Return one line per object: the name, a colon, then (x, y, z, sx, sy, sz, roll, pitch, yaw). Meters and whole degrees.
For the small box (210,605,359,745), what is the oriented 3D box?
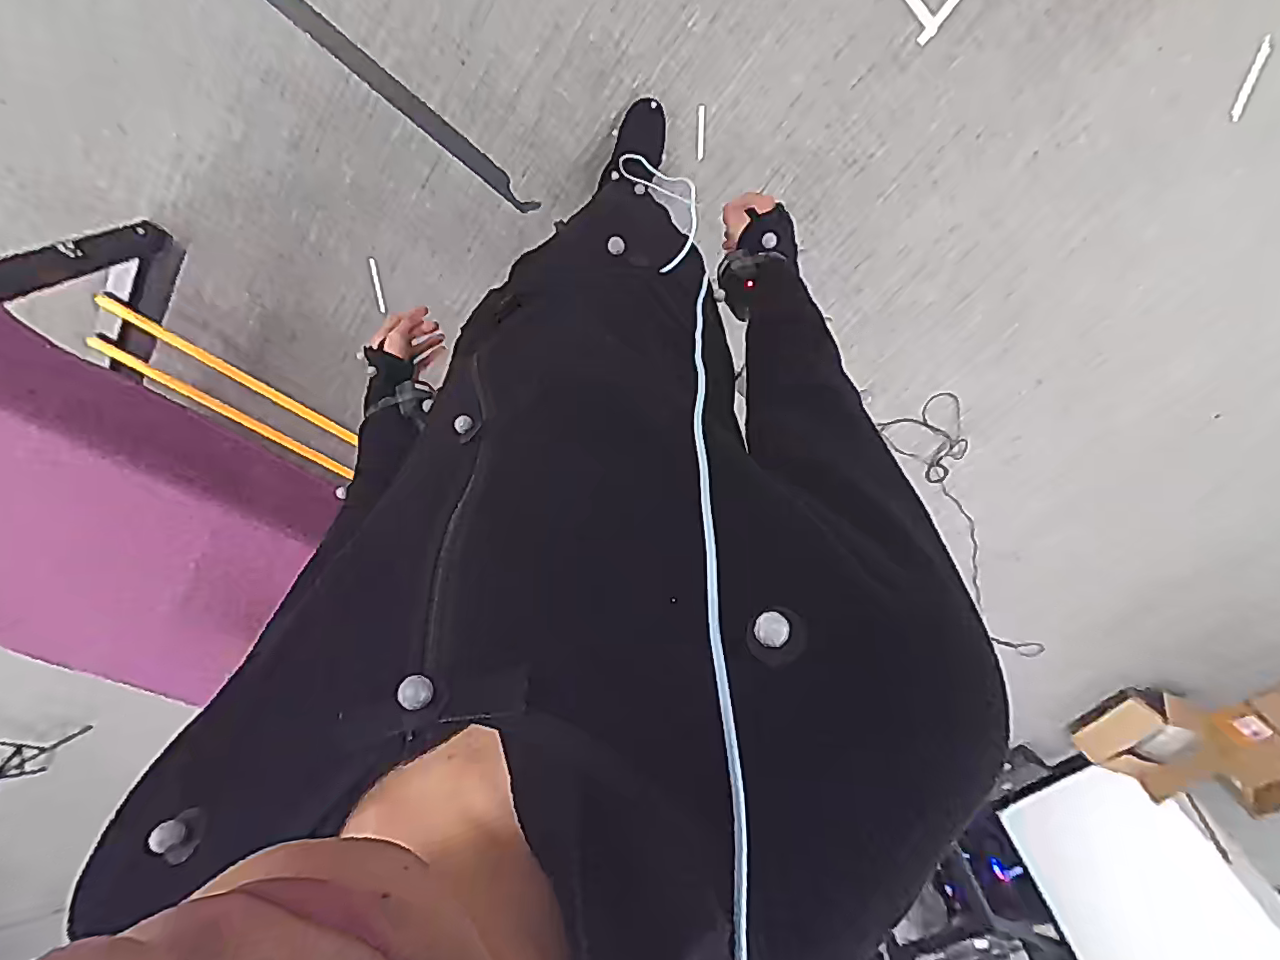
small box: (-0.678, 0.376, 1.052, 0.168, 0.176, 0.179, 32, 117, -23)
